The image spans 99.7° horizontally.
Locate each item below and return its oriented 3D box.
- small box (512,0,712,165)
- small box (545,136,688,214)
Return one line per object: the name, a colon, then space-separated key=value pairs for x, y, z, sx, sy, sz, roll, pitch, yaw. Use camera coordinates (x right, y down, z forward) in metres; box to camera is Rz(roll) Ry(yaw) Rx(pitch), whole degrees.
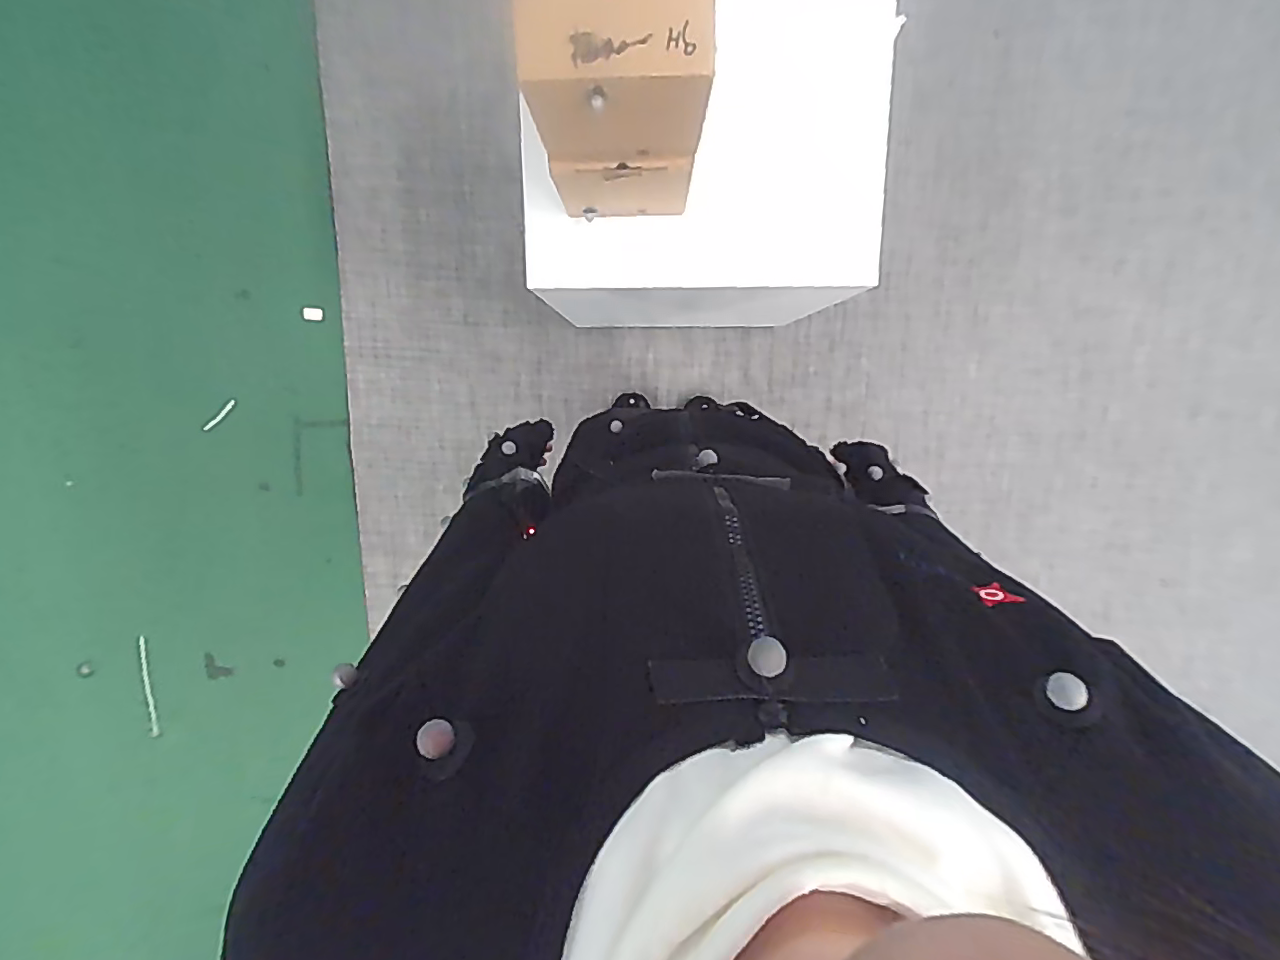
small box: x=-0.023 y=-0.430 z=0.515 sx=0.168 sy=0.176 sz=0.179 roll=-1 pitch=99 yaw=1
small box: x=-0.024 y=-0.447 z=0.678 sx=0.168 sy=0.176 sz=0.179 roll=-1 pitch=99 yaw=1
